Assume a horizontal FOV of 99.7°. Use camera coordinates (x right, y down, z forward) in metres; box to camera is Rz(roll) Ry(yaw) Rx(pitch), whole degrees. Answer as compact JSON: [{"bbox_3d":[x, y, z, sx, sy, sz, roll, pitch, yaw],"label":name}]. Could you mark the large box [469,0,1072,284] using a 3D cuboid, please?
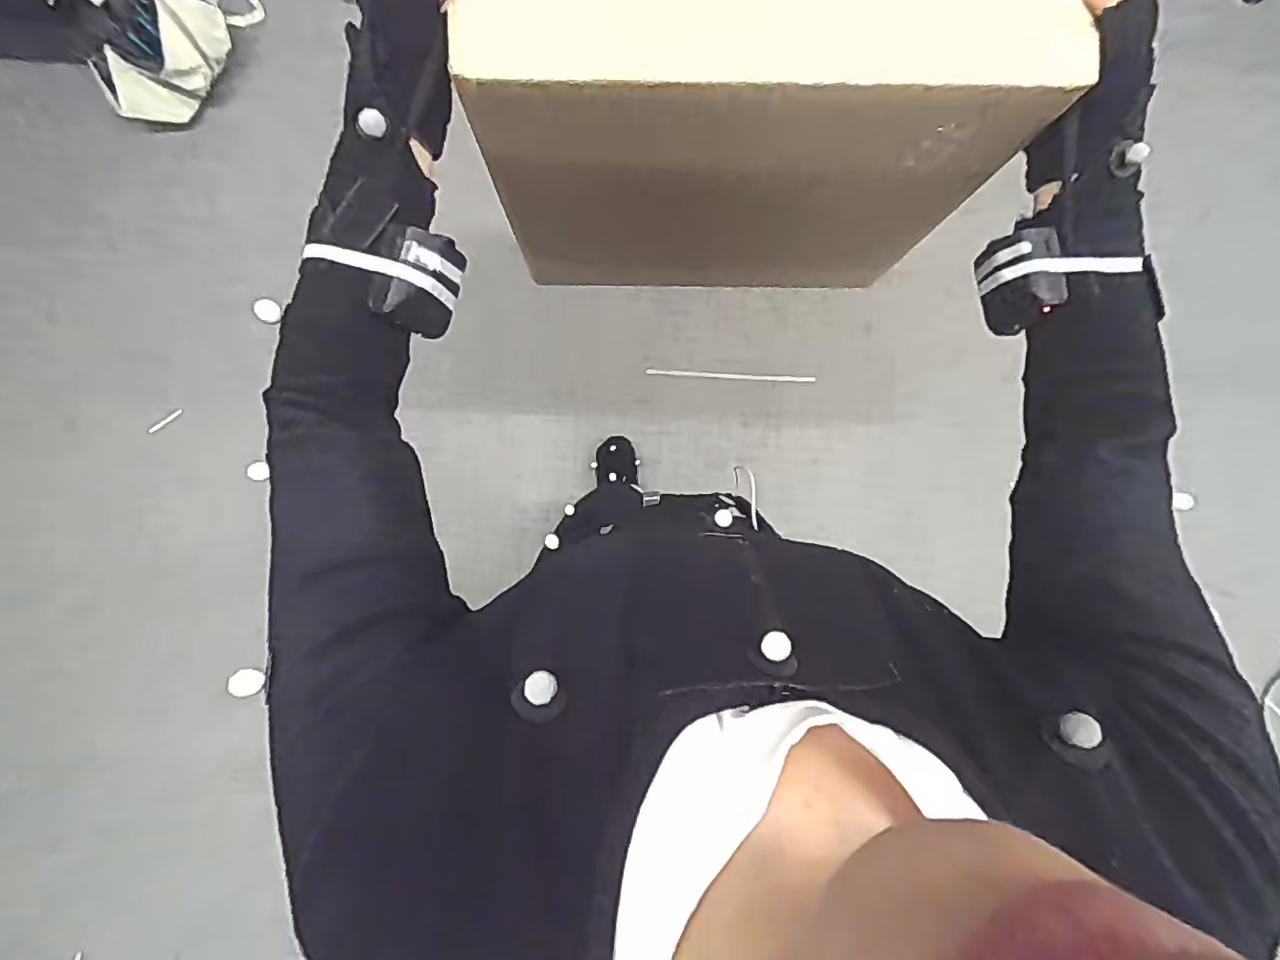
[{"bbox_3d":[0.077,-0.397,0.507,0.408,0.320,0.320,-1,87,-3],"label":"large box"}]
